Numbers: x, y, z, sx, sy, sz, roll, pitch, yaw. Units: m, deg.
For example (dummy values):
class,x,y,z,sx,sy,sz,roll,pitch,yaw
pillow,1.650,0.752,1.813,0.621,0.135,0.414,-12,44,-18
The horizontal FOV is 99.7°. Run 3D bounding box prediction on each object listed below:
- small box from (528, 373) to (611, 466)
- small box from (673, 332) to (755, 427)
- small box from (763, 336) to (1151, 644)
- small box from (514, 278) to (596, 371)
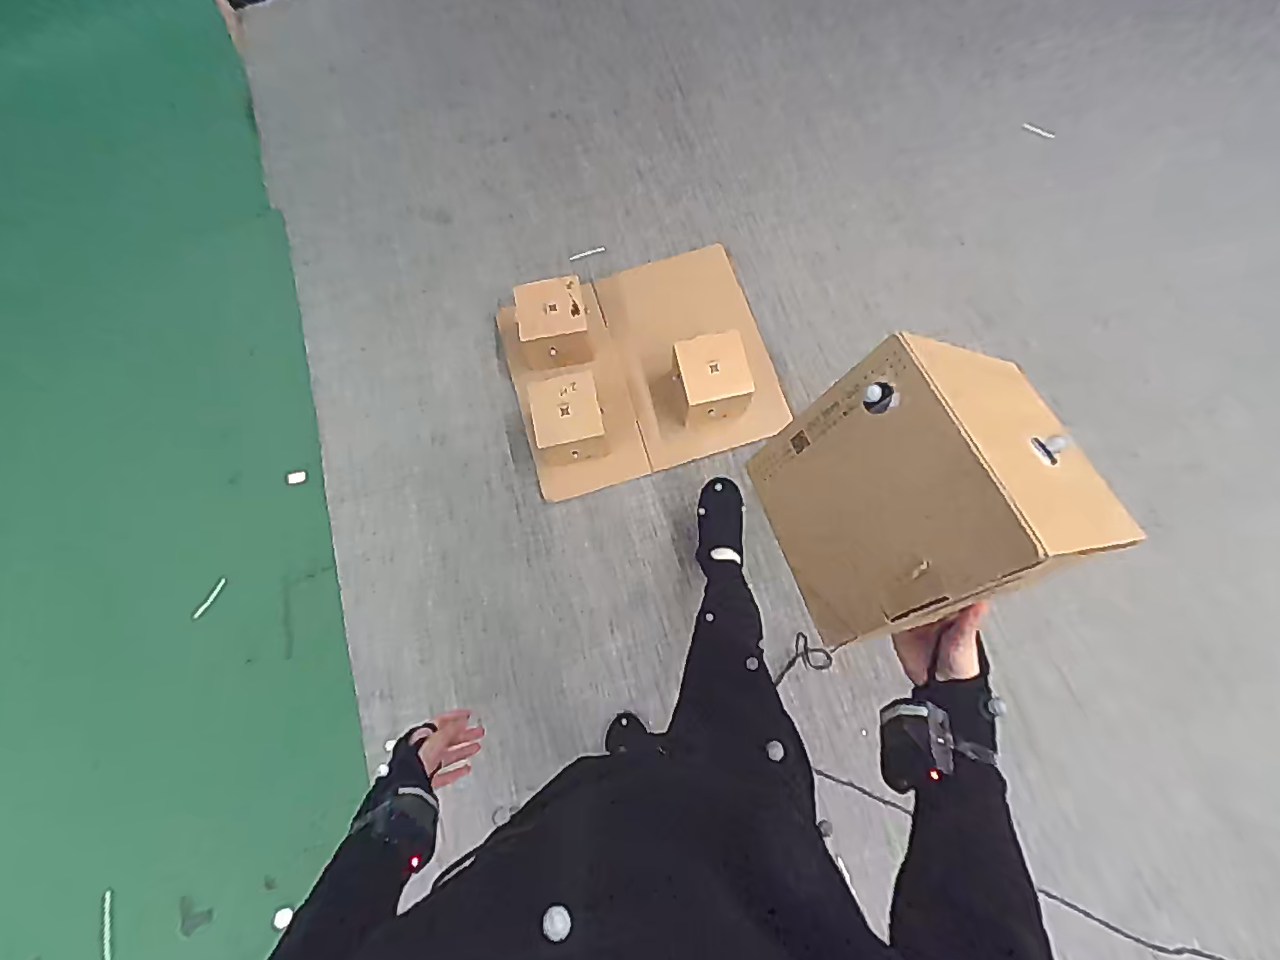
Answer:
class,x,y,z,sx,sy,sz,roll,pitch,yaw
small box,-0.174,-0.145,1.377,0.168,0.176,0.179,-12,75,-1
small box,0.183,-0.246,1.383,0.168,0.176,0.179,-13,75,-1
small box,0.230,0.009,0.427,0.179,0.168,0.176,0,58,-34
small box,-0.223,-0.408,1.449,0.179,0.176,0.168,-11,75,0
